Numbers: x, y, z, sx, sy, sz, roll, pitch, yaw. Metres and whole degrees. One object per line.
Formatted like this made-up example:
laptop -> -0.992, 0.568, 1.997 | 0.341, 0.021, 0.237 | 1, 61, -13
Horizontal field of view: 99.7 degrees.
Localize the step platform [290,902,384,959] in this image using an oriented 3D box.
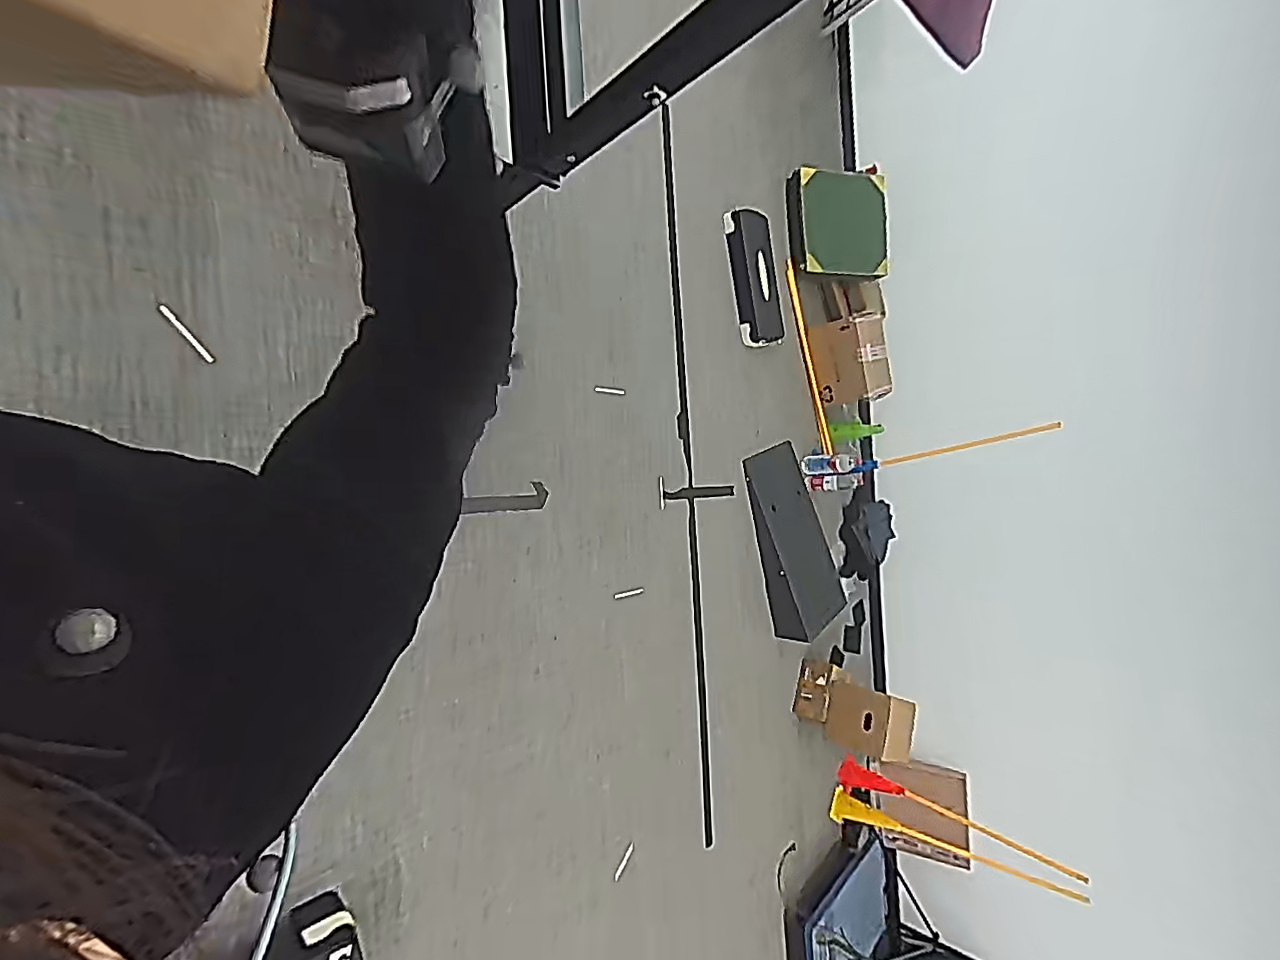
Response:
step platform -> -0.884, 1.174, 1.077 | 0.684, 0.204, 0.286 | 6, 83, -46
